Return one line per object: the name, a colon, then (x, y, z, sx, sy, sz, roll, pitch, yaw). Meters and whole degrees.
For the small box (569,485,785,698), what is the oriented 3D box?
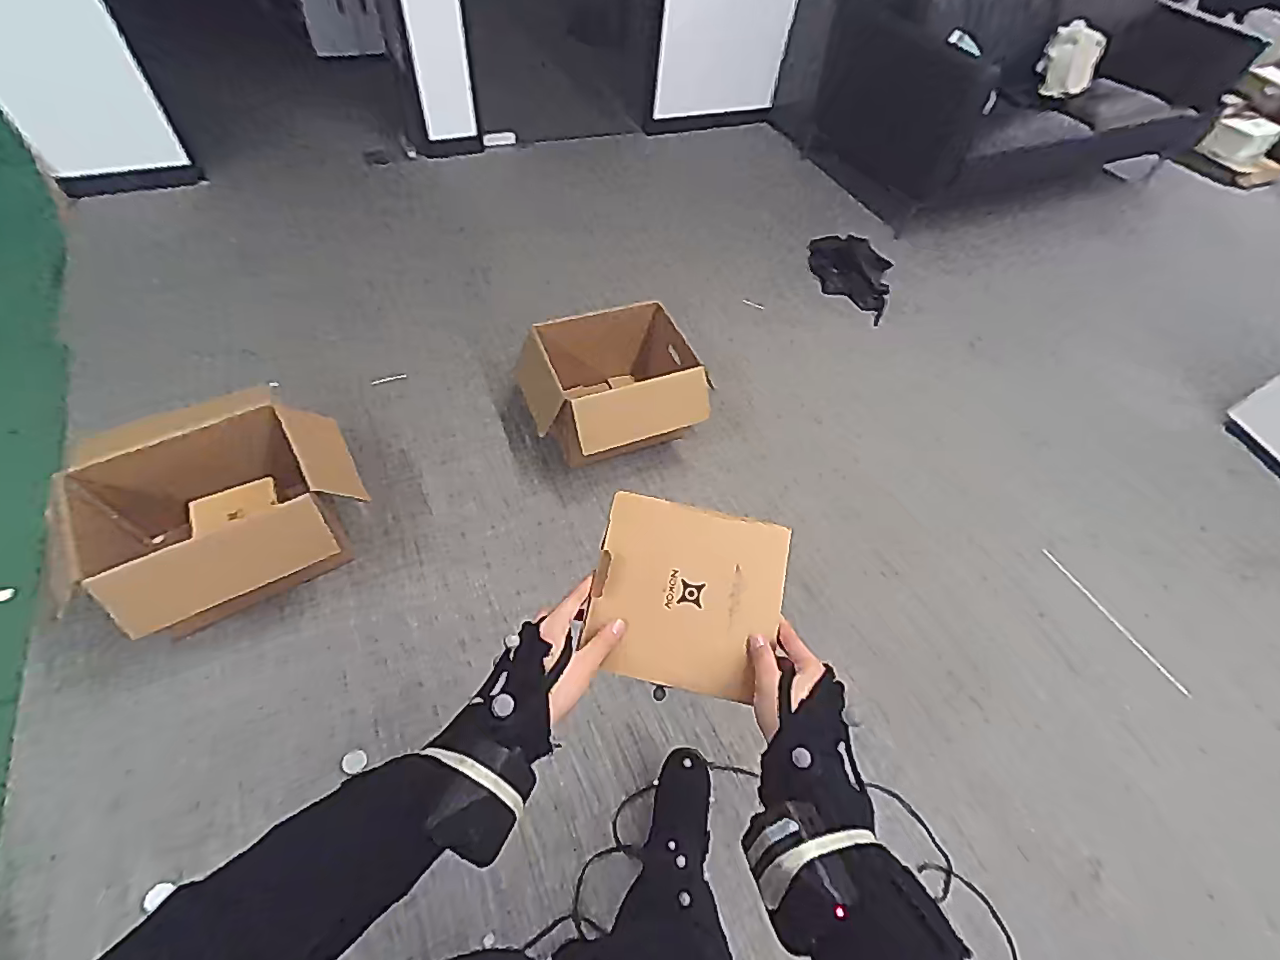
small box: (0.034, 0.122, 0.567, 0.179, 0.176, 0.168, 12, 72, 0)
